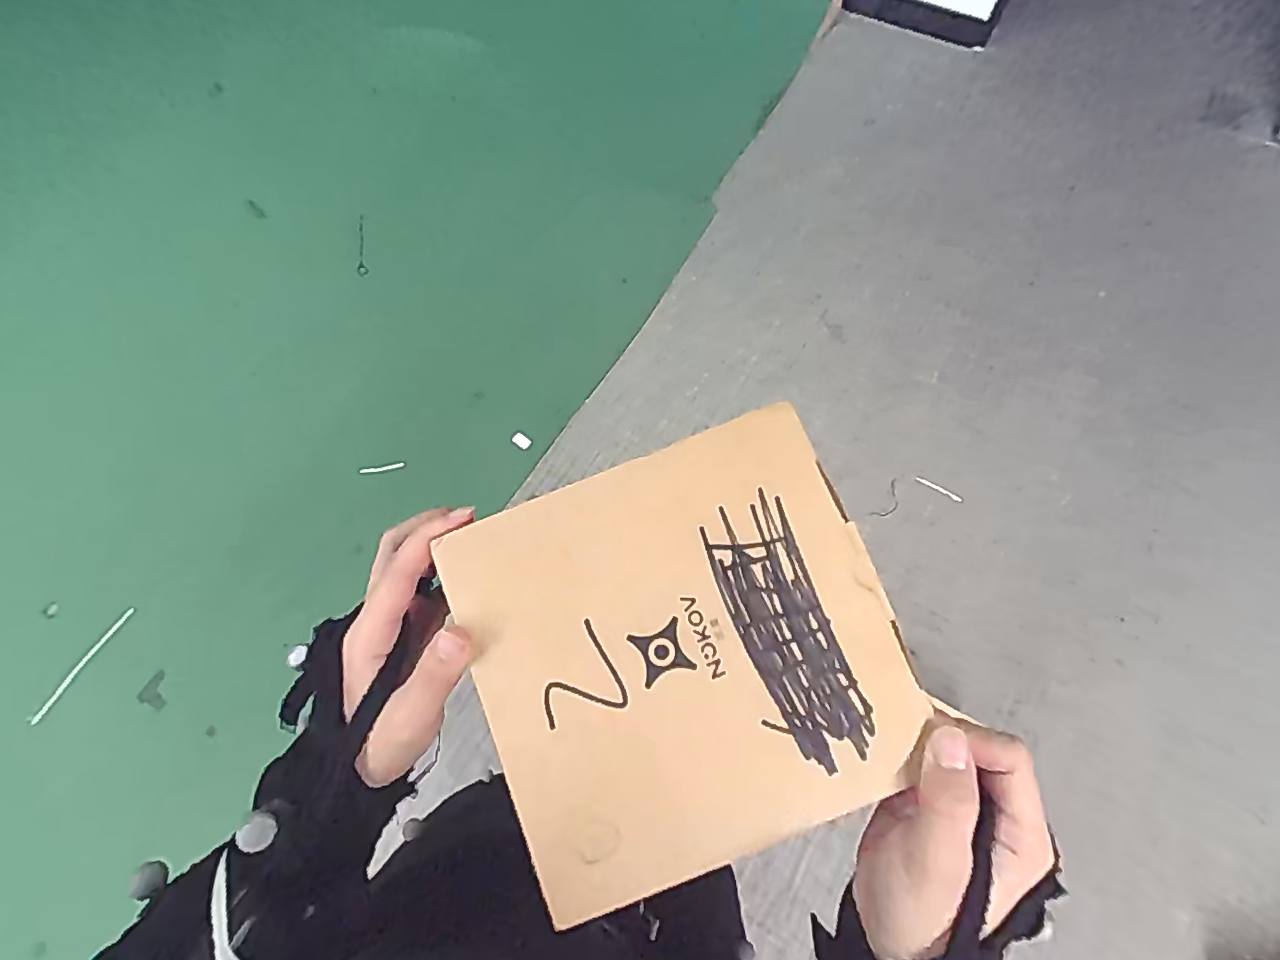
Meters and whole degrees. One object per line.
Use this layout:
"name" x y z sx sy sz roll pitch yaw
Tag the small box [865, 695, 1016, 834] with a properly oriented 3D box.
"small box" 0.566 0.534 1.043 0.179 0.176 0.168 28 75 12
